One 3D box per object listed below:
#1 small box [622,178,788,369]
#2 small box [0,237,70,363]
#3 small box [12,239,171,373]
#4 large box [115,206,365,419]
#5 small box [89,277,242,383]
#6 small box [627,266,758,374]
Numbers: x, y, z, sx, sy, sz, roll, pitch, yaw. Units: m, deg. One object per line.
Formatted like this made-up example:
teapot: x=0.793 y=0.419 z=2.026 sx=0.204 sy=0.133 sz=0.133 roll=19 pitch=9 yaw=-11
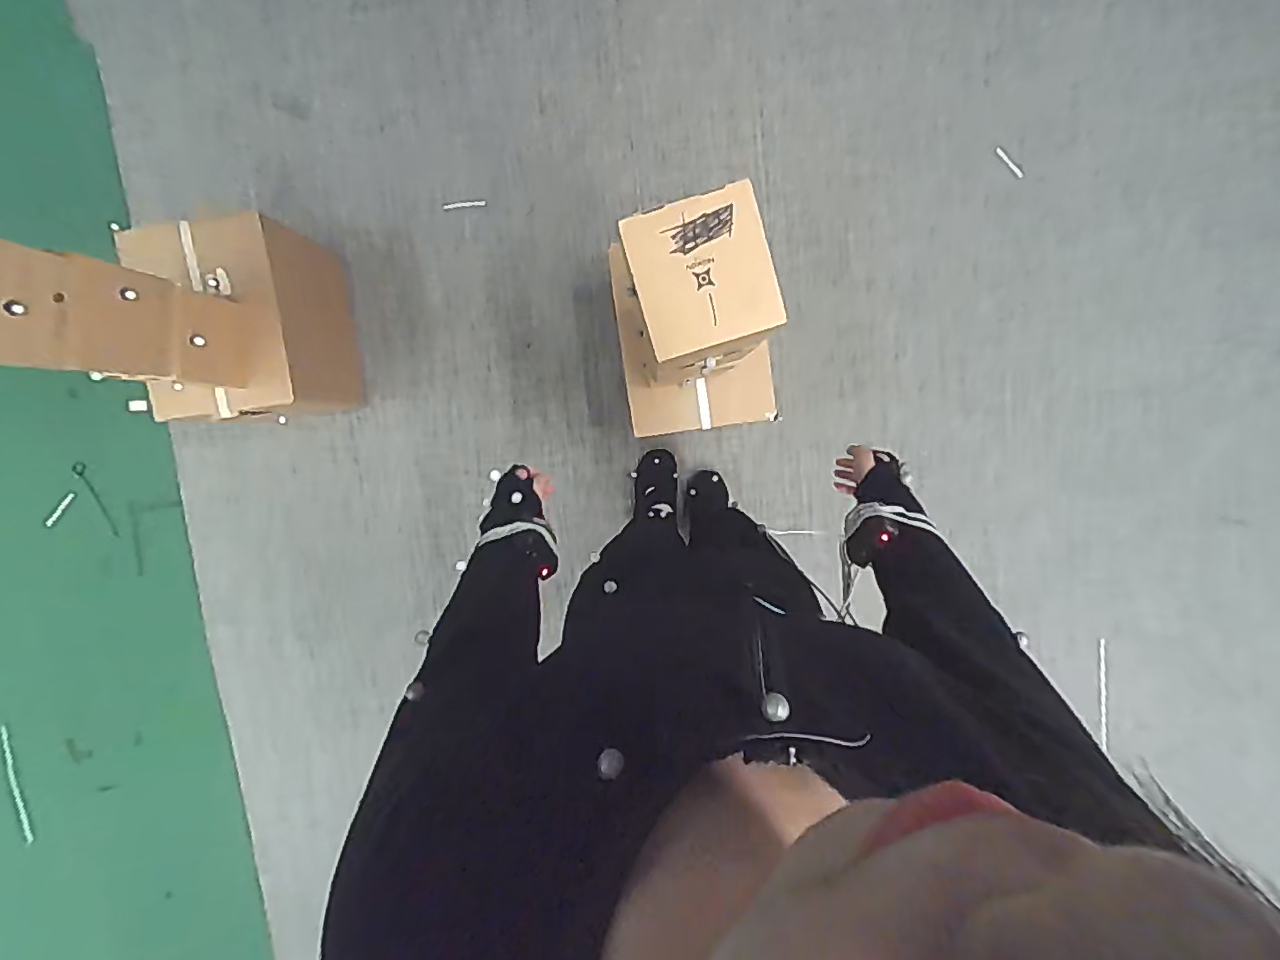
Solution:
small box: x=0.078 y=-0.259 z=0.722 sx=0.168 sy=0.176 sz=0.179 roll=-16 pitch=97 yaw=4
small box: x=-0.933 y=-0.254 z=0.727 sx=0.179 sy=0.176 sz=0.168 roll=8 pitch=96 yaw=0
small box: x=-0.922 y=-0.278 z=0.890 sx=0.168 sy=0.176 sz=0.179 roll=7 pitch=98 yaw=1
large box: x=-0.914 y=-0.366 z=1.287 sx=0.320 sy=0.320 sz=0.408 roll=-7 pitch=95 yaw=1
small box: x=-0.915 y=-0.288 z=1.052 sx=0.168 sy=0.176 sz=0.179 roll=4 pitch=97 yaw=0
small box: x=0.082 y=-0.277 z=0.887 sx=0.168 sy=0.176 sz=0.179 roll=-16 pitch=97 yaw=3
